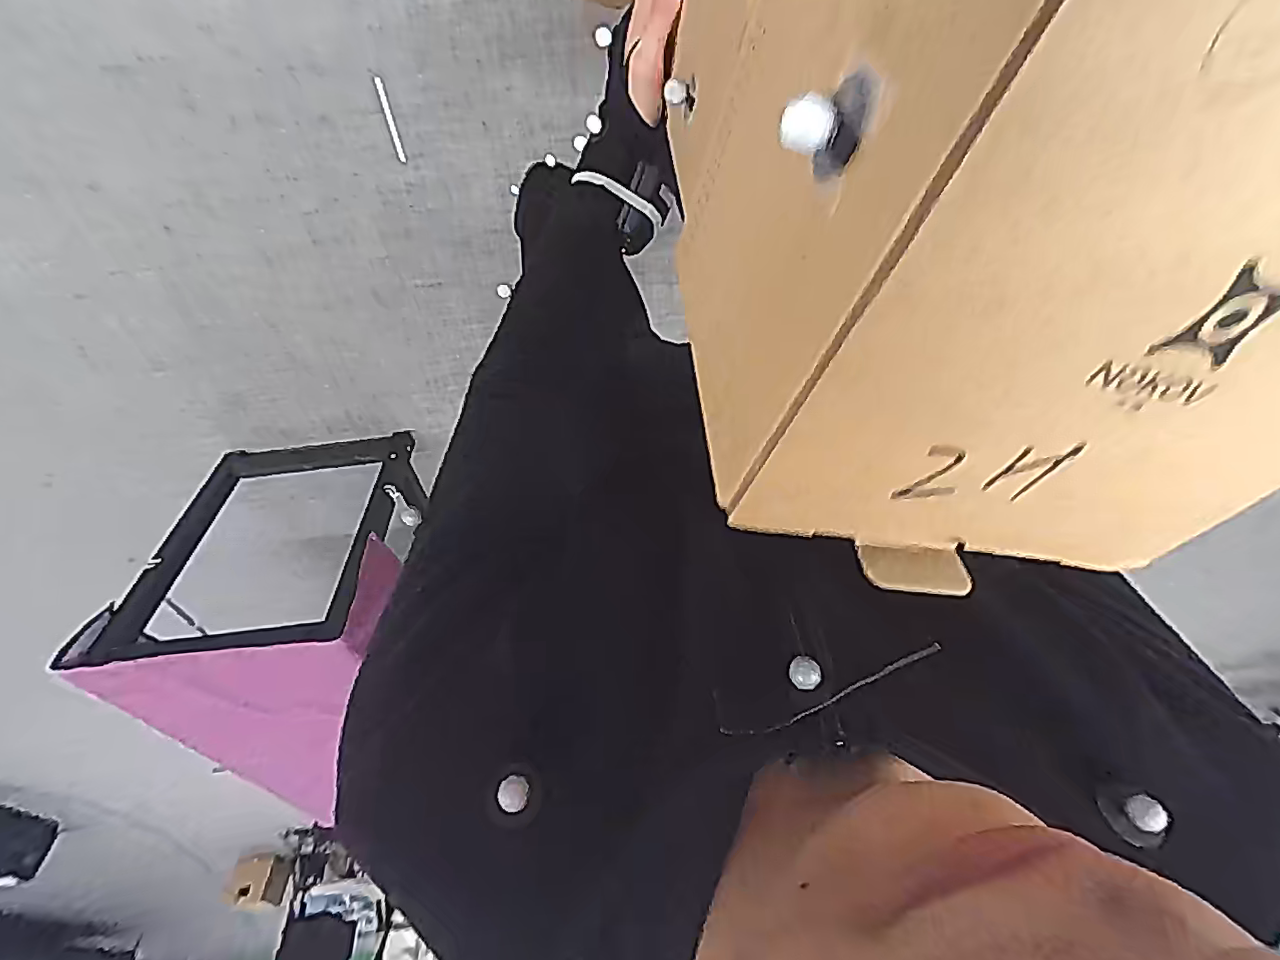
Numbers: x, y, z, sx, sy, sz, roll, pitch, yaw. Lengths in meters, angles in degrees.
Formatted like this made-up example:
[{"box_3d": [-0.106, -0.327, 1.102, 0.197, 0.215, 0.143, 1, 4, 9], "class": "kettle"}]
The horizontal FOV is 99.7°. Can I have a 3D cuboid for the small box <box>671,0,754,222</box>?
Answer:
[{"box_3d": [0.112, -0.238, 0.272, 0.168, 0.176, 0.179, 3, 140, -8], "class": "small box"}]

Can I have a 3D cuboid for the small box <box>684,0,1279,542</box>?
[{"box_3d": [0.119, -0.103, 0.178, 0.168, 0.176, 0.179, 8, 139, -13], "class": "small box"}]
